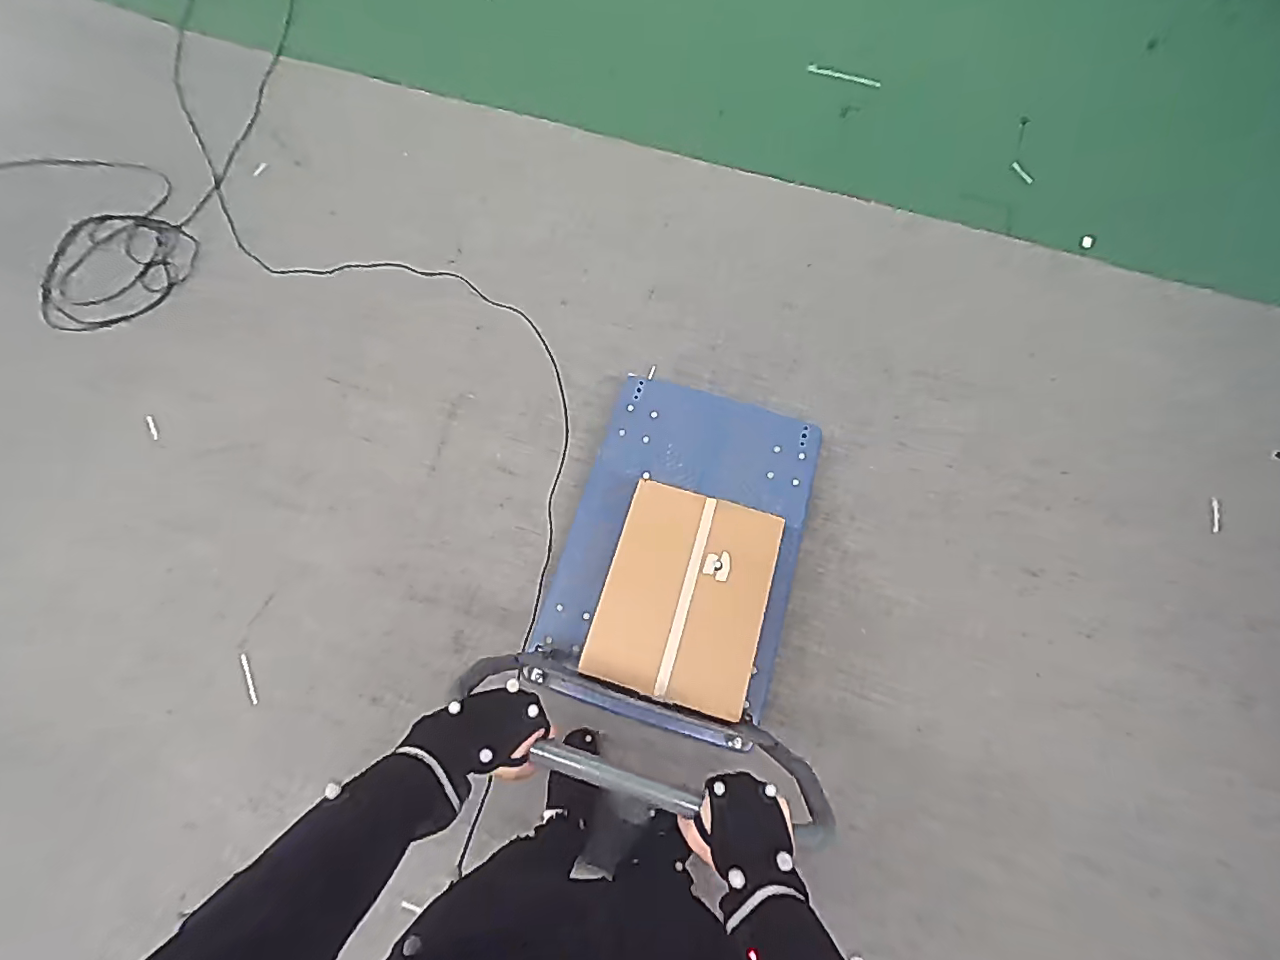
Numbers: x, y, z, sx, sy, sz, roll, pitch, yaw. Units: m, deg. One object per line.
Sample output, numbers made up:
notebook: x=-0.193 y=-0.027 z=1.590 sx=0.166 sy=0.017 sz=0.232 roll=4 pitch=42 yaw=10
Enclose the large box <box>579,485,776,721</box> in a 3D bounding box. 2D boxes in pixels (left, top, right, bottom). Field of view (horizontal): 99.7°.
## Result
large box: x=0.081 y=0.280 z=1.202 sx=0.320 sy=0.320 sz=0.408 roll=16 pitch=69 yaw=4
